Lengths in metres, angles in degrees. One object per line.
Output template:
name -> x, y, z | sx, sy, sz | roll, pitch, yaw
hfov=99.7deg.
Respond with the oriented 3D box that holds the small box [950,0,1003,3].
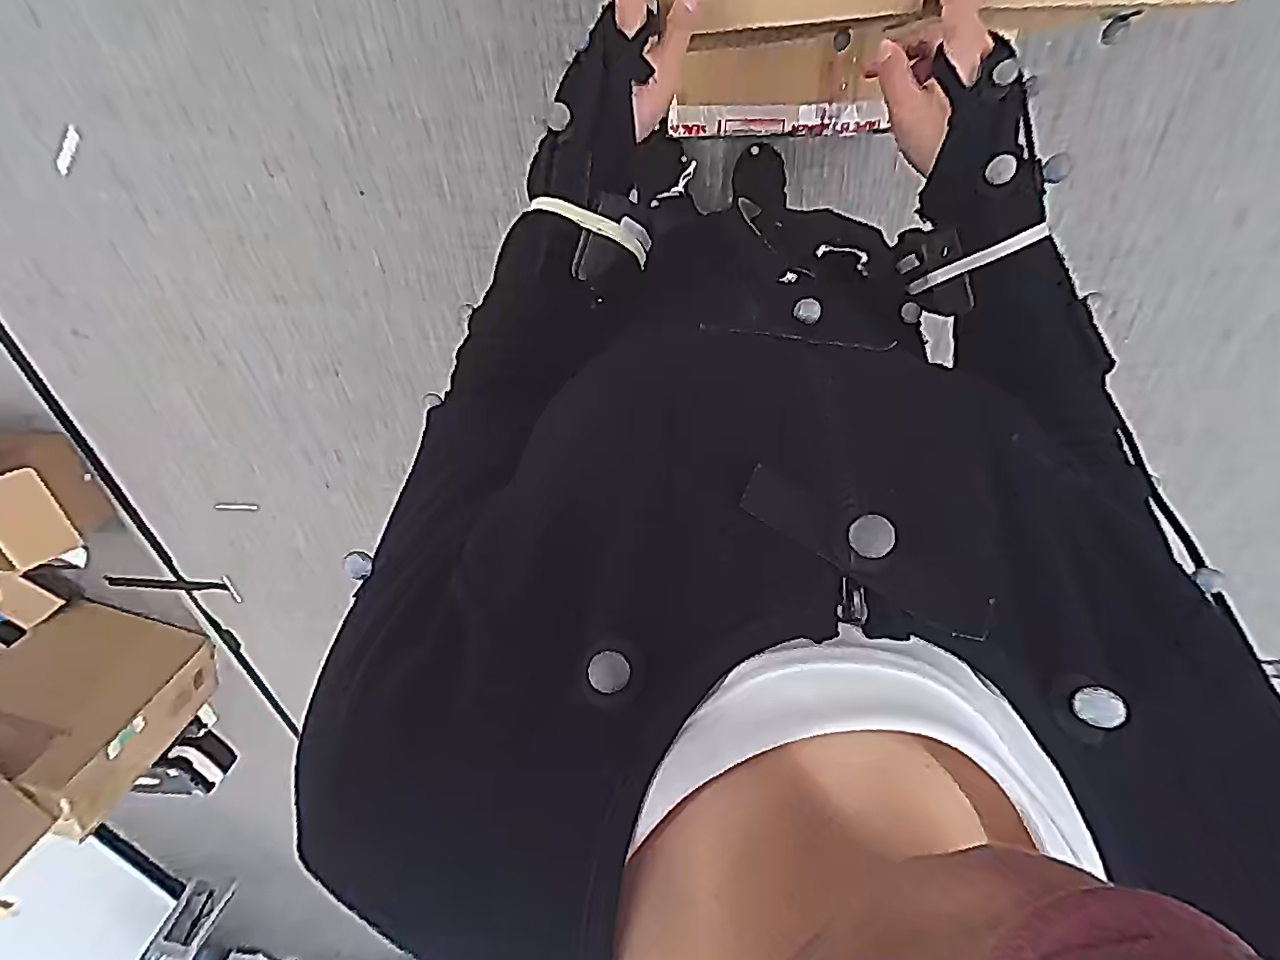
small box -> 0.306, -0.534, 0.468 | 0.179, 0.176, 0.168 | 4, 126, 2
